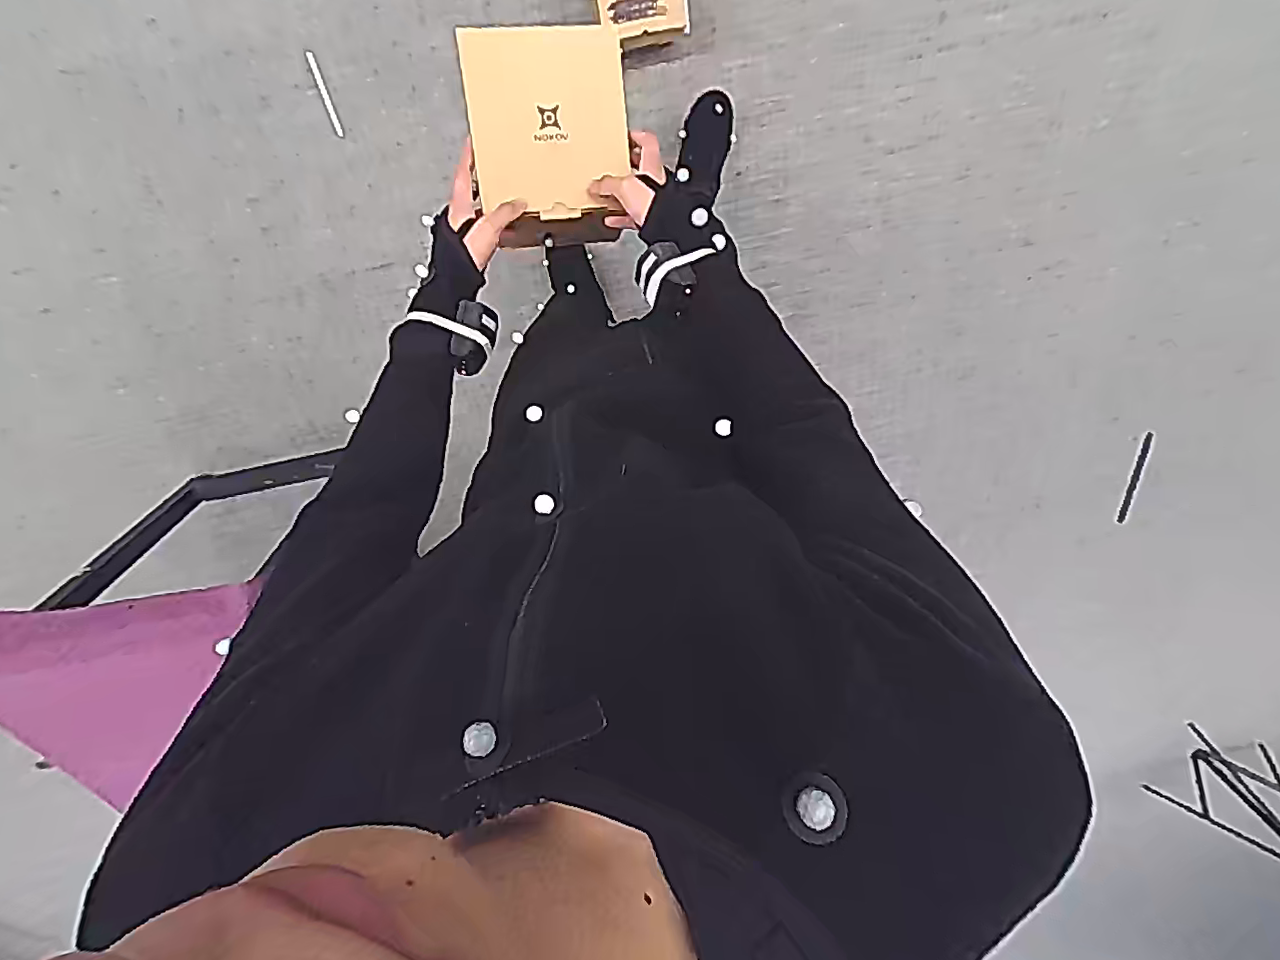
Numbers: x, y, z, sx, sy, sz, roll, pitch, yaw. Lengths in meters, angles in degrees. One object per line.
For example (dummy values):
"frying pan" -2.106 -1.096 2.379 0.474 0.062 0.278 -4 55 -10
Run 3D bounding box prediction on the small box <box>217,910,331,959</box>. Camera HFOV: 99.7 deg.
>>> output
"small box" -0.823 1.090 1.200 0.179 0.176 0.168 -15 121 5

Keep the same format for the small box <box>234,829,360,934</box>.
"small box" -0.836 1.003 1.338 0.179 0.176 0.168 -12 122 1

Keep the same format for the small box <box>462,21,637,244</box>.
"small box" -0.104 -0.394 0.640 0.168 0.176 0.179 -8 104 -7
